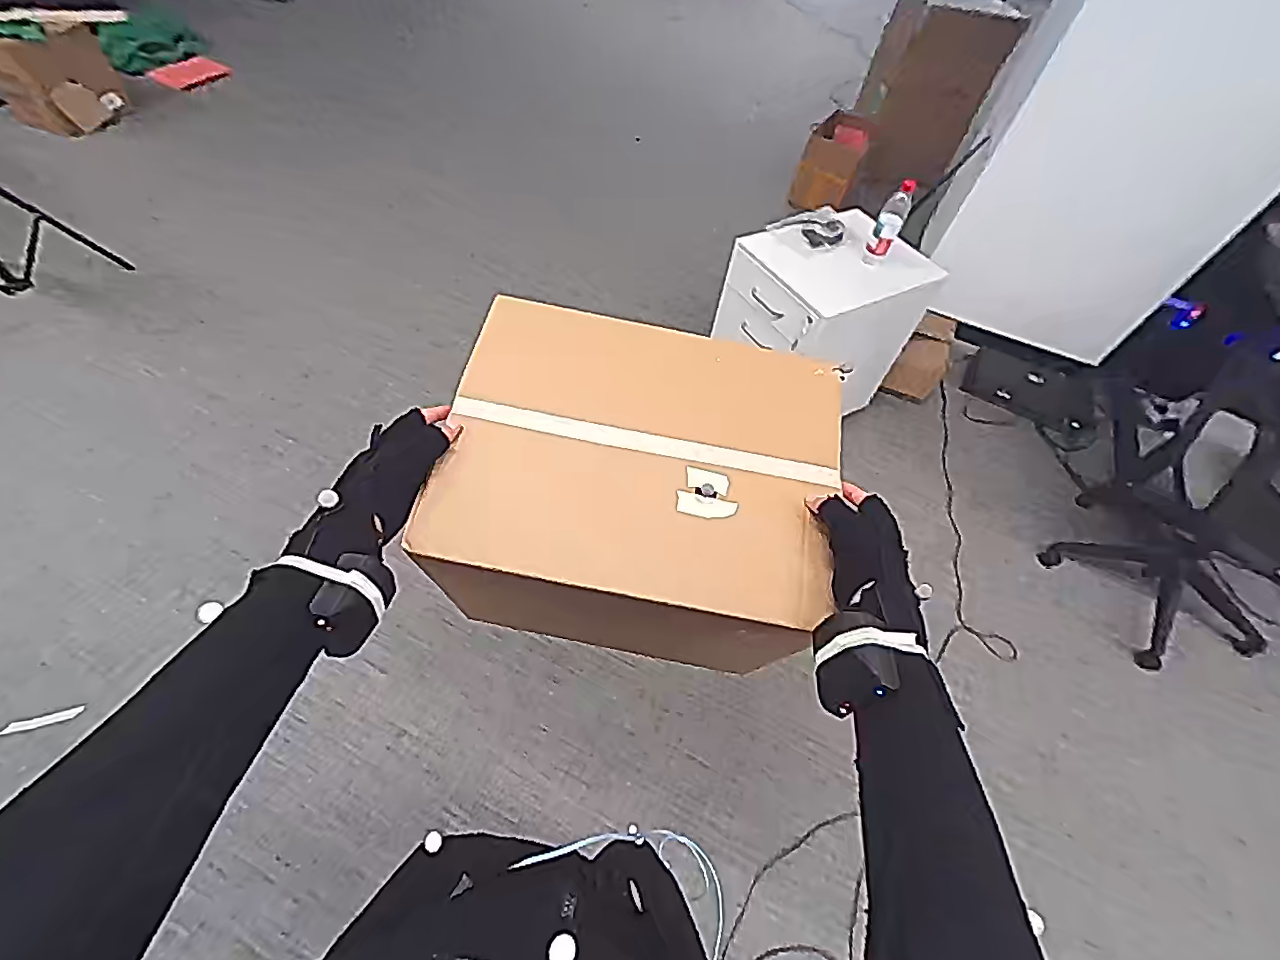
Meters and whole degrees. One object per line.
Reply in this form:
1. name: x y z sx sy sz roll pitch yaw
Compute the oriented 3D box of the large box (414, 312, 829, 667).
1. large box: -0.012 0.035 0.702 0.408 0.320 0.320 11 64 -1
